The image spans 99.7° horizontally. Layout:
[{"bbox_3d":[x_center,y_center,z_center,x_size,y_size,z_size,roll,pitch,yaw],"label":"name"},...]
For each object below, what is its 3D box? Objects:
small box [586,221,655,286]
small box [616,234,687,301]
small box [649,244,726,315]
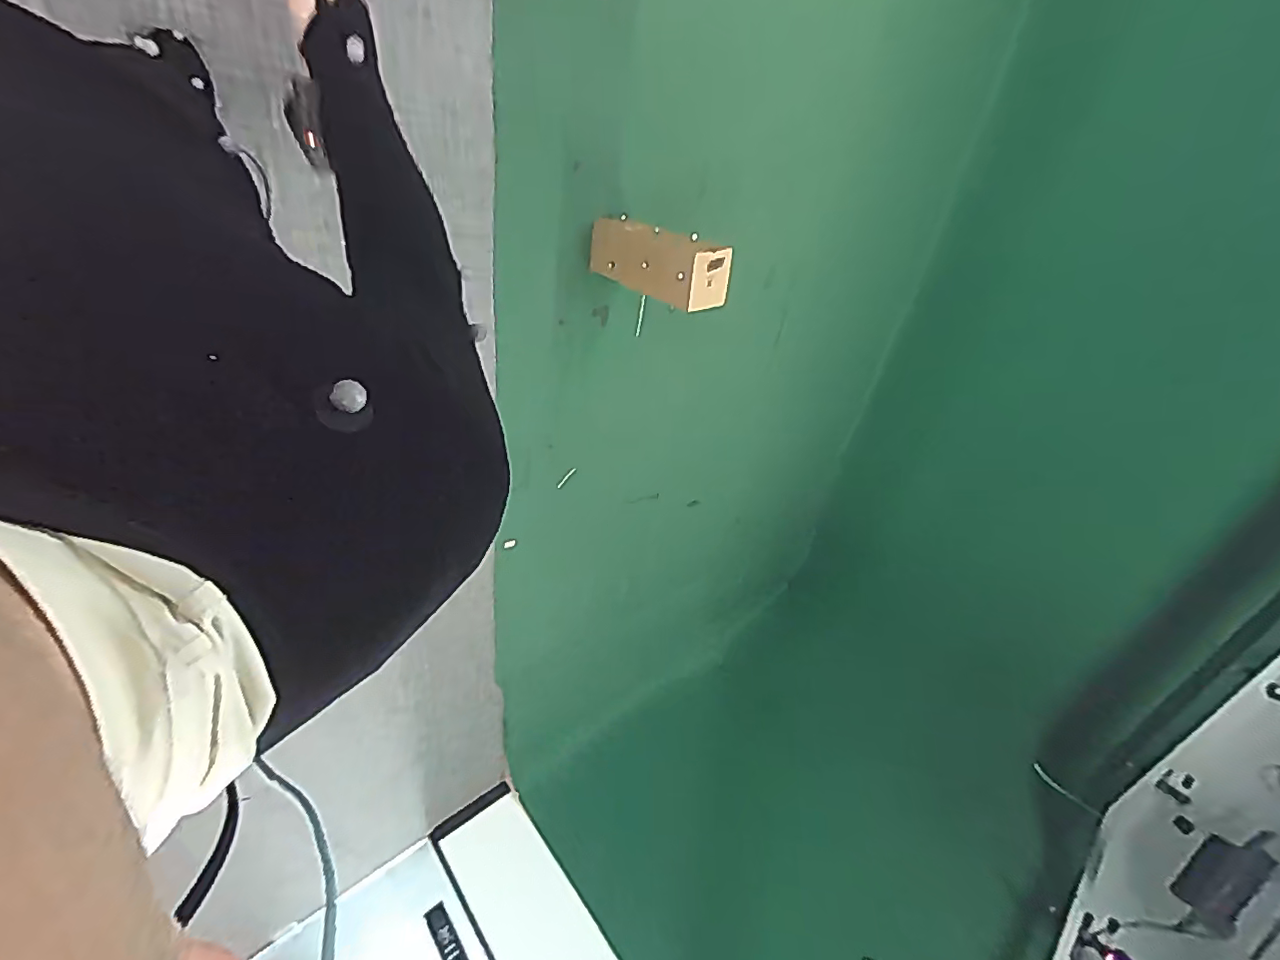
[{"bbox_3d":[-0.072,-0.791,1.887,0.168,0.176,0.179,-19,131,-38],"label":"small box"},{"bbox_3d":[0.035,-0.709,1.796,0.168,0.176,0.179,-21,131,-36],"label":"small box"},{"bbox_3d":[0.144,-0.636,1.698,0.168,0.176,0.179,-22,134,-35],"label":"small box"}]
